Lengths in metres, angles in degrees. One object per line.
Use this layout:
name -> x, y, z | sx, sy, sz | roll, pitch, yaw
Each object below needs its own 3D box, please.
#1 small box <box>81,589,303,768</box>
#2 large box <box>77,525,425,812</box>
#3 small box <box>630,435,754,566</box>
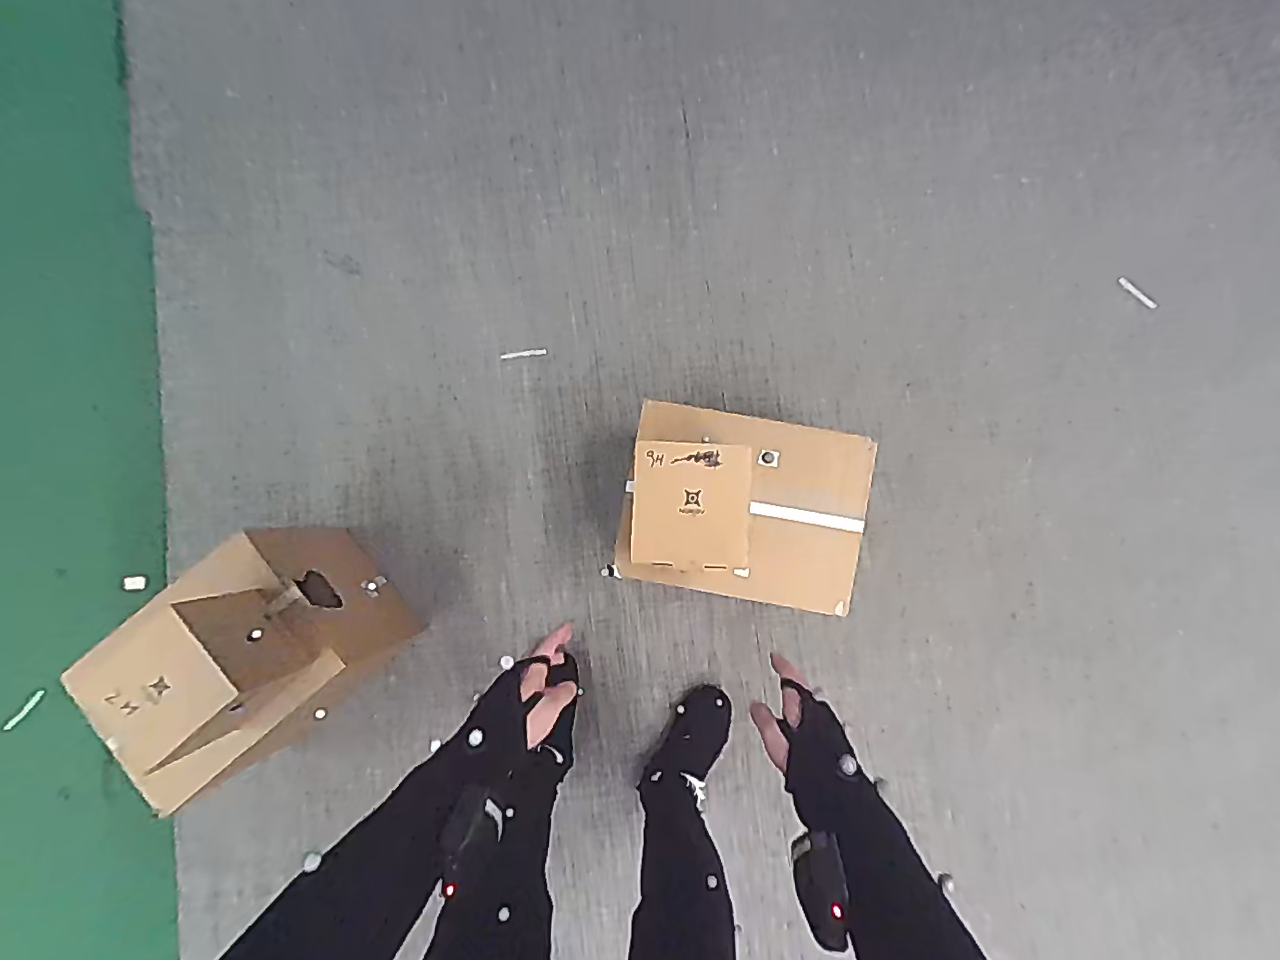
small box -> -0.663, 0.288, 0.832 | 0.179, 0.176, 0.168 | -41, 86, -1
large box -> -0.730, 0.331, 1.080 | 0.408, 0.320, 0.320 | -41, 84, -1
small box -> 0.075, 0.031, 0.829 | 0.168, 0.176, 0.179 | 3, 87, 2
